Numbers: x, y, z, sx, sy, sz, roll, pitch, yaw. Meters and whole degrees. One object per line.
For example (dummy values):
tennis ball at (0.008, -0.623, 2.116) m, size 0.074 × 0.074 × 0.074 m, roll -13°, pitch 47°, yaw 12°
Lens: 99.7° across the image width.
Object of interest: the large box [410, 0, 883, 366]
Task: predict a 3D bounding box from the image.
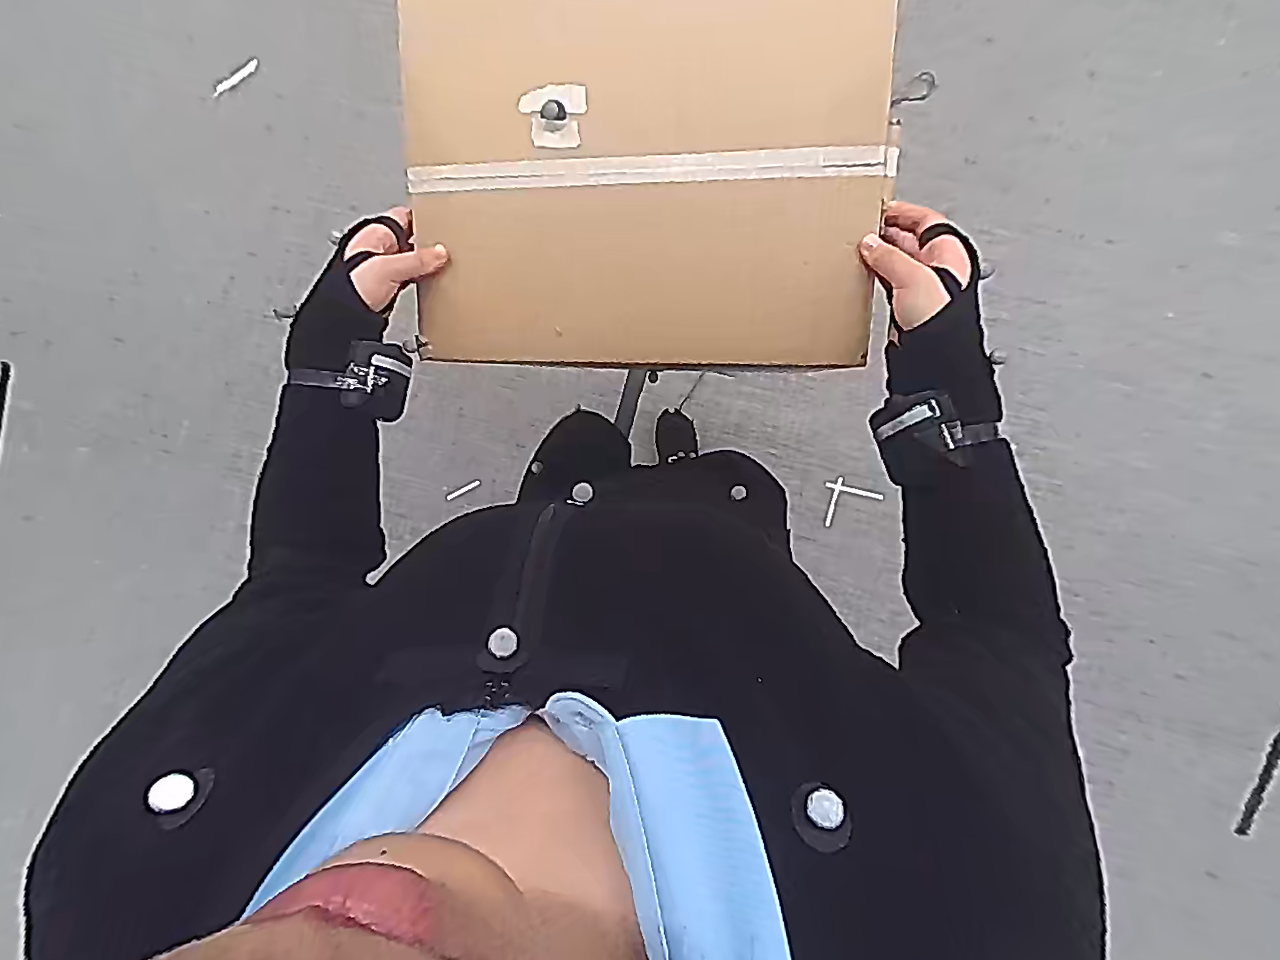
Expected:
large box at (0.019, -0.289, 0.612) m, size 0.408 × 0.320 × 0.320 m, roll 2°, pitch 100°, yaw 9°
